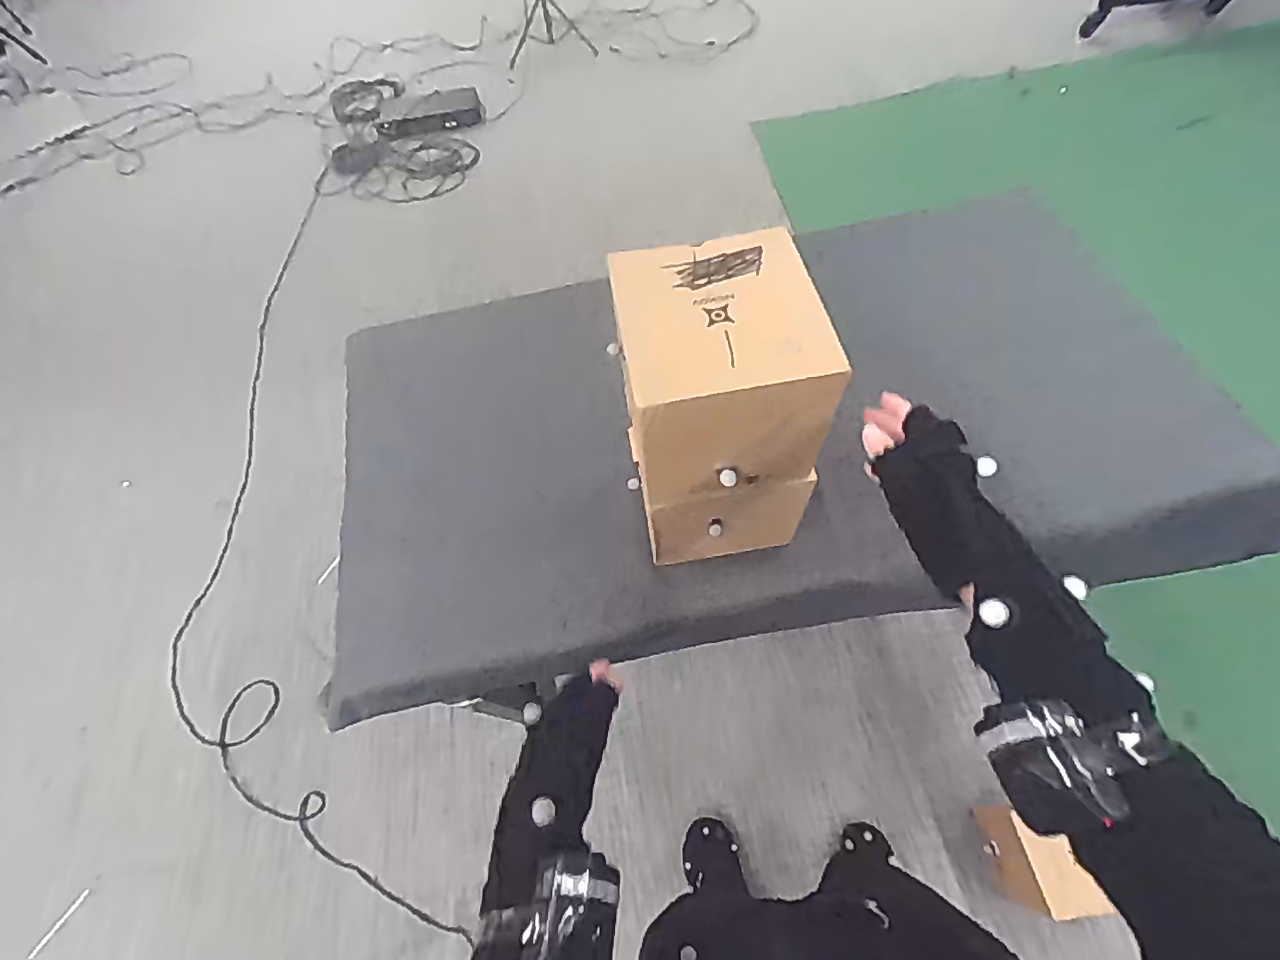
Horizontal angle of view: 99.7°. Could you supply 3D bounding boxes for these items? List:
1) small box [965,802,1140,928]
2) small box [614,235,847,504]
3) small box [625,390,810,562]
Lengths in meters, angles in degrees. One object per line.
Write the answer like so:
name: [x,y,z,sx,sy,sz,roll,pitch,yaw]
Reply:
small box: [0.768,0.722,1.031,0.179,0.176,0.168,-10,60,1]
small box: [0.070,-0.098,0.515,0.168,0.176,0.179,-9,61,0]
small box: [0.086,-0.012,0.656,0.179,0.176,0.168,-9,60,0]
